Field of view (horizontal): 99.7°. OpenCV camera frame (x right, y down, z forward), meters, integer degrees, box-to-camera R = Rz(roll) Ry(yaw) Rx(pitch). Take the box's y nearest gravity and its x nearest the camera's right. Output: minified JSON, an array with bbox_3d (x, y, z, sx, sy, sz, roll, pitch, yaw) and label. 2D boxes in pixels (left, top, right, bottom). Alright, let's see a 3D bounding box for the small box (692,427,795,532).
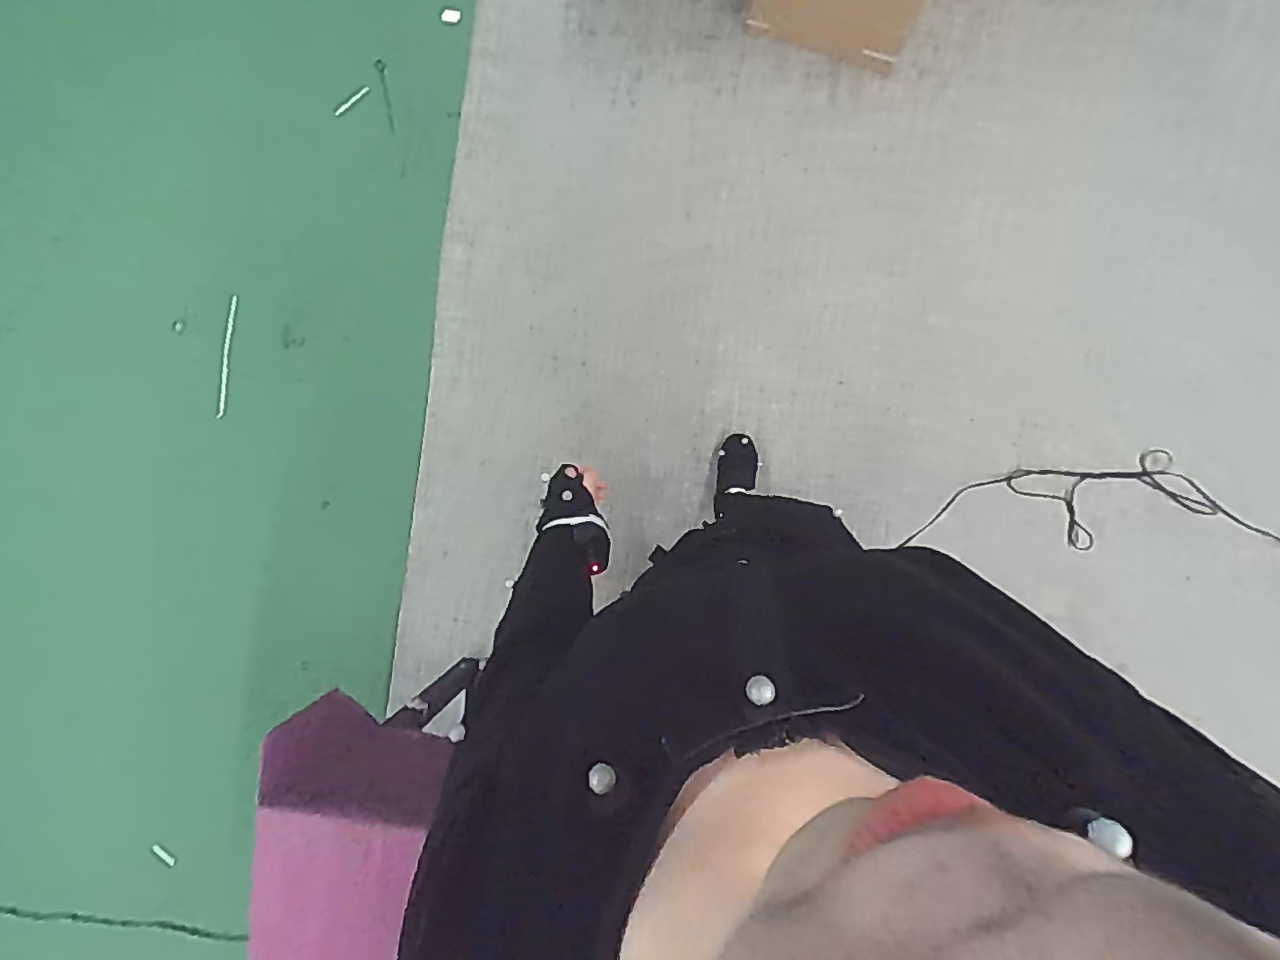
[{"bbox_3d":[0.258,-0.001,1.388,0.179,0.176,0.168,-28,60,-28],"label":"small box"}]
